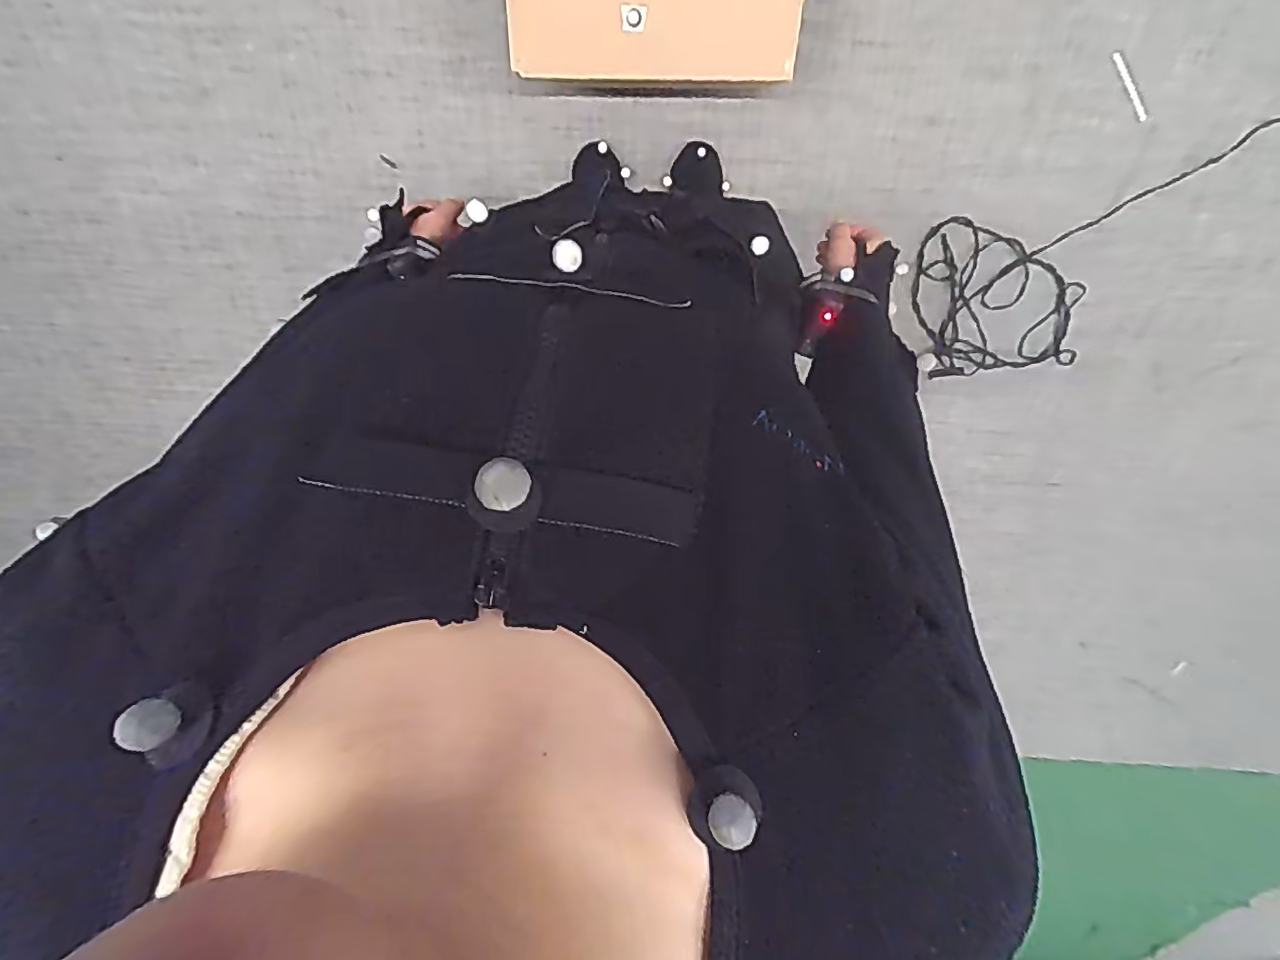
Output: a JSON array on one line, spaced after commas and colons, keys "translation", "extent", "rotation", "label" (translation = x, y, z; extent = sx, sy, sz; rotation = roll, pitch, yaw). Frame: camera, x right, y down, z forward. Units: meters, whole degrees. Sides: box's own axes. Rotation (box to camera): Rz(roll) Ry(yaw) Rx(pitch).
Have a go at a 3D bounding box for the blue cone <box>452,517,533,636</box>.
[{"translation": [-0.434, 0.281, 1.516], "extent": [0.192, 0.380, 0.193], "rotation": [4, 123, 2], "label": "blue cone"}]
